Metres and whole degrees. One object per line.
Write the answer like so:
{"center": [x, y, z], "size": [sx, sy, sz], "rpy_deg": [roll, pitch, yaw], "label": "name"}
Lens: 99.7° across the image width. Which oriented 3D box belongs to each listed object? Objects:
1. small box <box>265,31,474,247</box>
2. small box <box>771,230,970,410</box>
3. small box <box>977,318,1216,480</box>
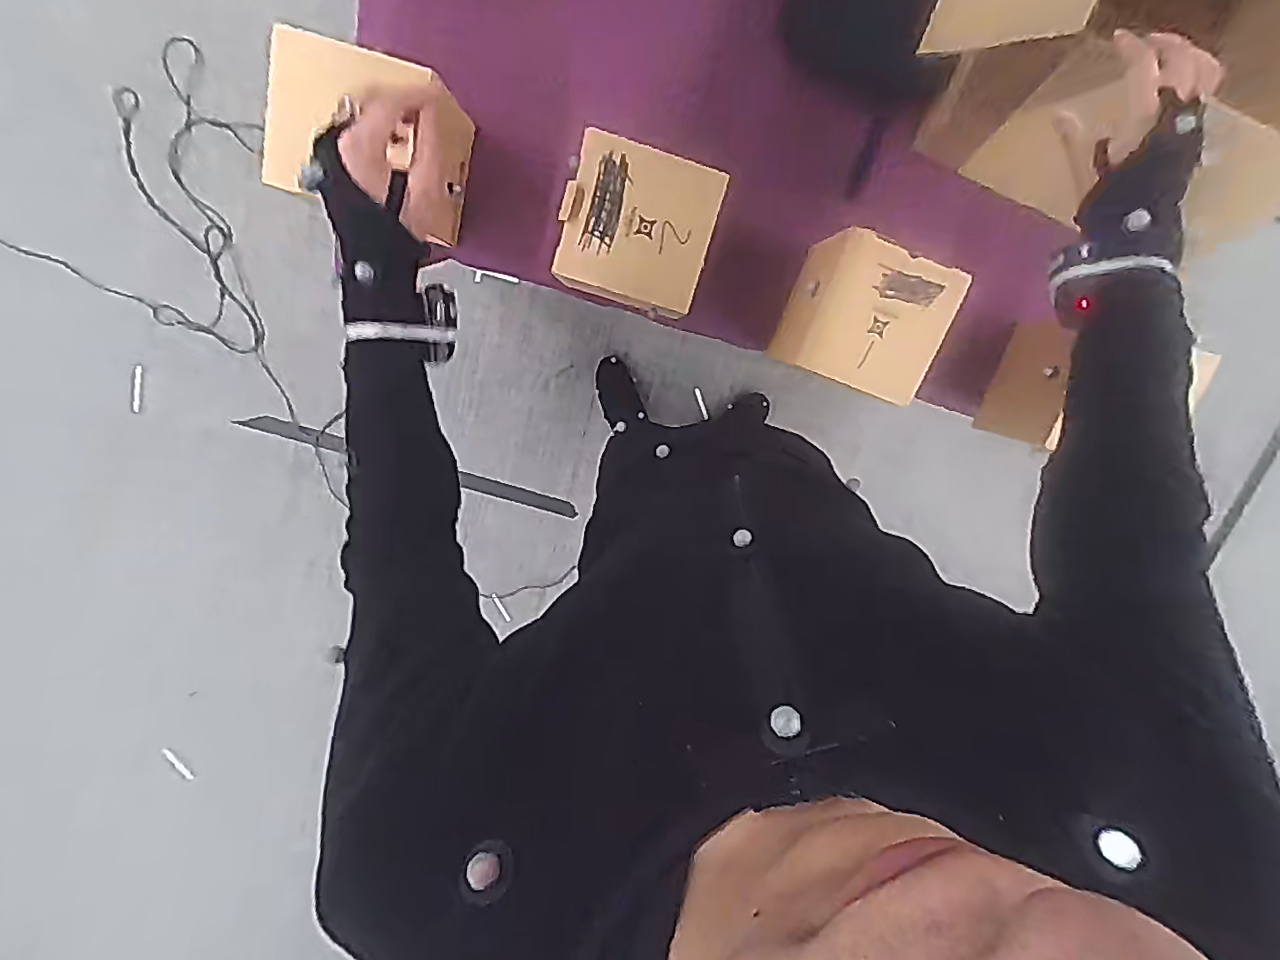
{"center": [-0.332, -0.413, 0.690], "size": [0.179, 0.176, 0.168], "rpy_deg": [13, 104, -6], "label": "small box"}
{"center": [0.301, -0.217, 0.752], "size": [0.168, 0.176, 0.179], "rpy_deg": [20, 105, -5], "label": "small box"}
{"center": [0.636, -0.121, 0.782], "size": [0.168, 0.176, 0.179], "rpy_deg": [16, 104, -4], "label": "small box"}
